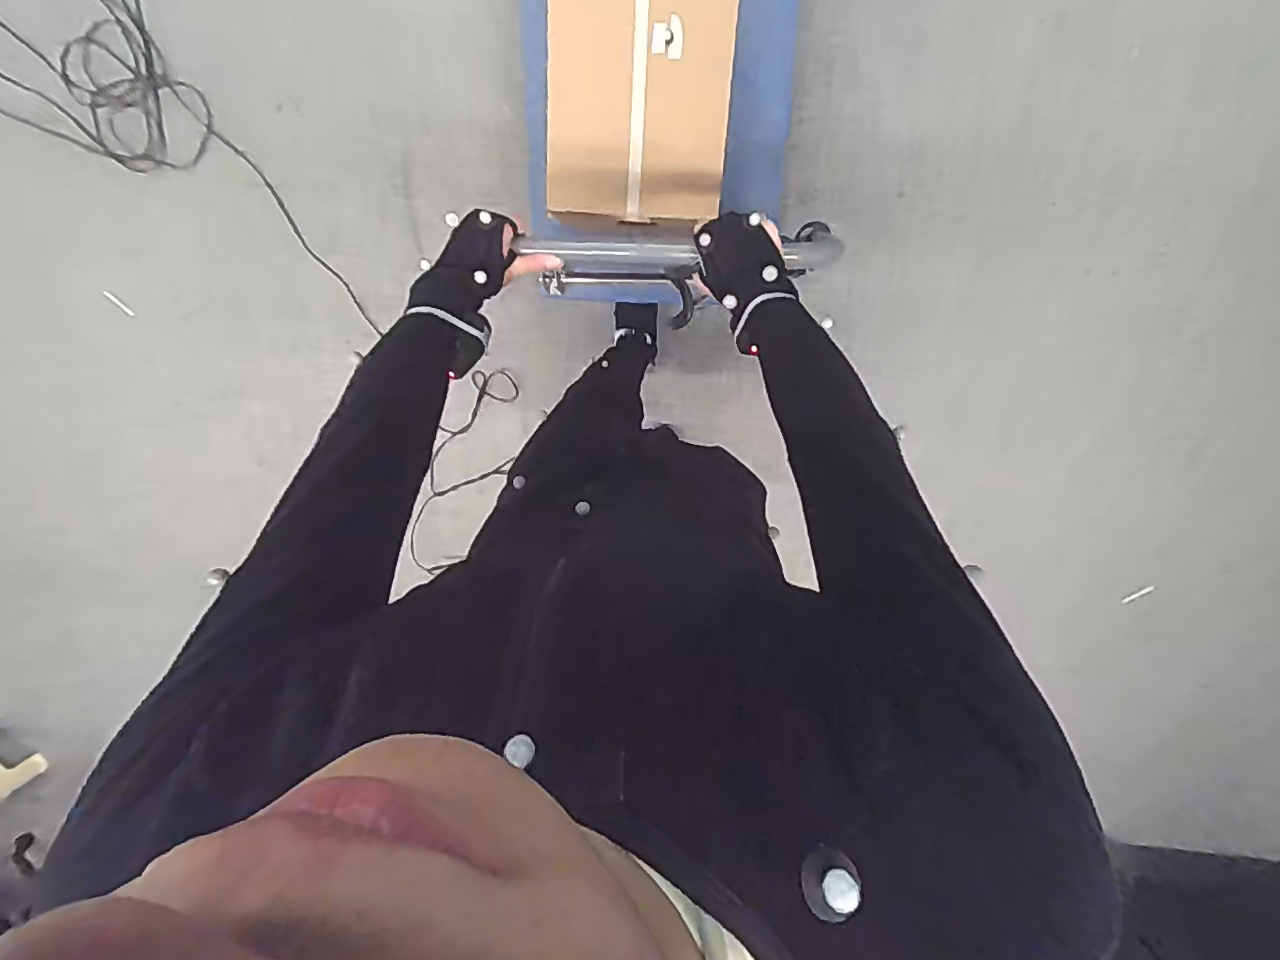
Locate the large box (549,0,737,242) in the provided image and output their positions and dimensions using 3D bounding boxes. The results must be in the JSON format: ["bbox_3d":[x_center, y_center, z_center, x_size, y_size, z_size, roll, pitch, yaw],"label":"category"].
[{"bbox_3d":[0.008,-0.708,1.068,0.320,0.320,0.408,4,108,2],"label":"large box"}]
